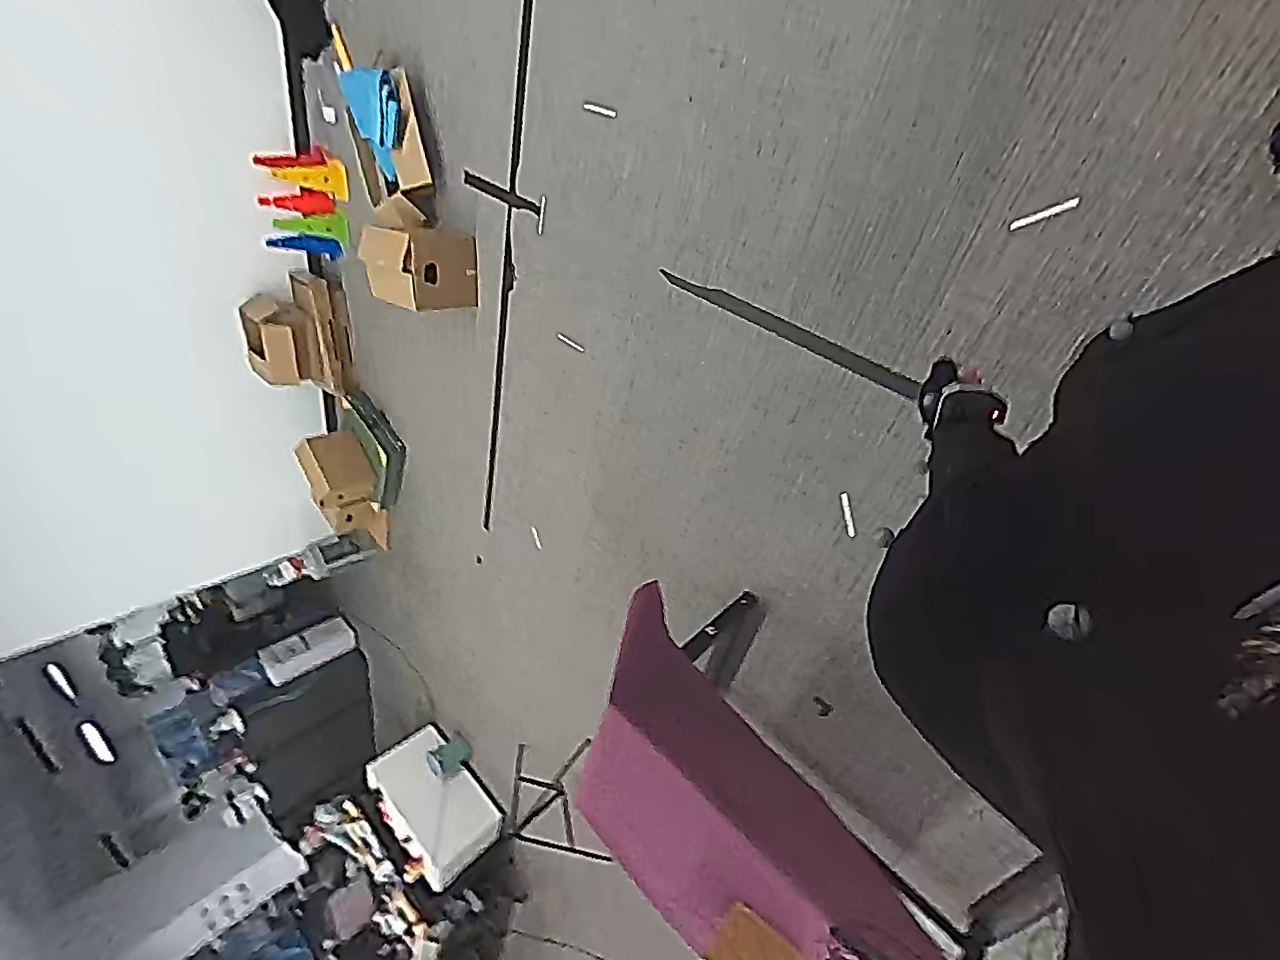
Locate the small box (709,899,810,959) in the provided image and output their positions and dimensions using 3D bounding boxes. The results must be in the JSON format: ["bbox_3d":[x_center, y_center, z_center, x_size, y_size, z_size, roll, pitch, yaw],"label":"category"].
[{"bbox_3d":[0.277,1.154,1.273,0.179,0.176,0.168,22,121,37],"label":"small box"}]
